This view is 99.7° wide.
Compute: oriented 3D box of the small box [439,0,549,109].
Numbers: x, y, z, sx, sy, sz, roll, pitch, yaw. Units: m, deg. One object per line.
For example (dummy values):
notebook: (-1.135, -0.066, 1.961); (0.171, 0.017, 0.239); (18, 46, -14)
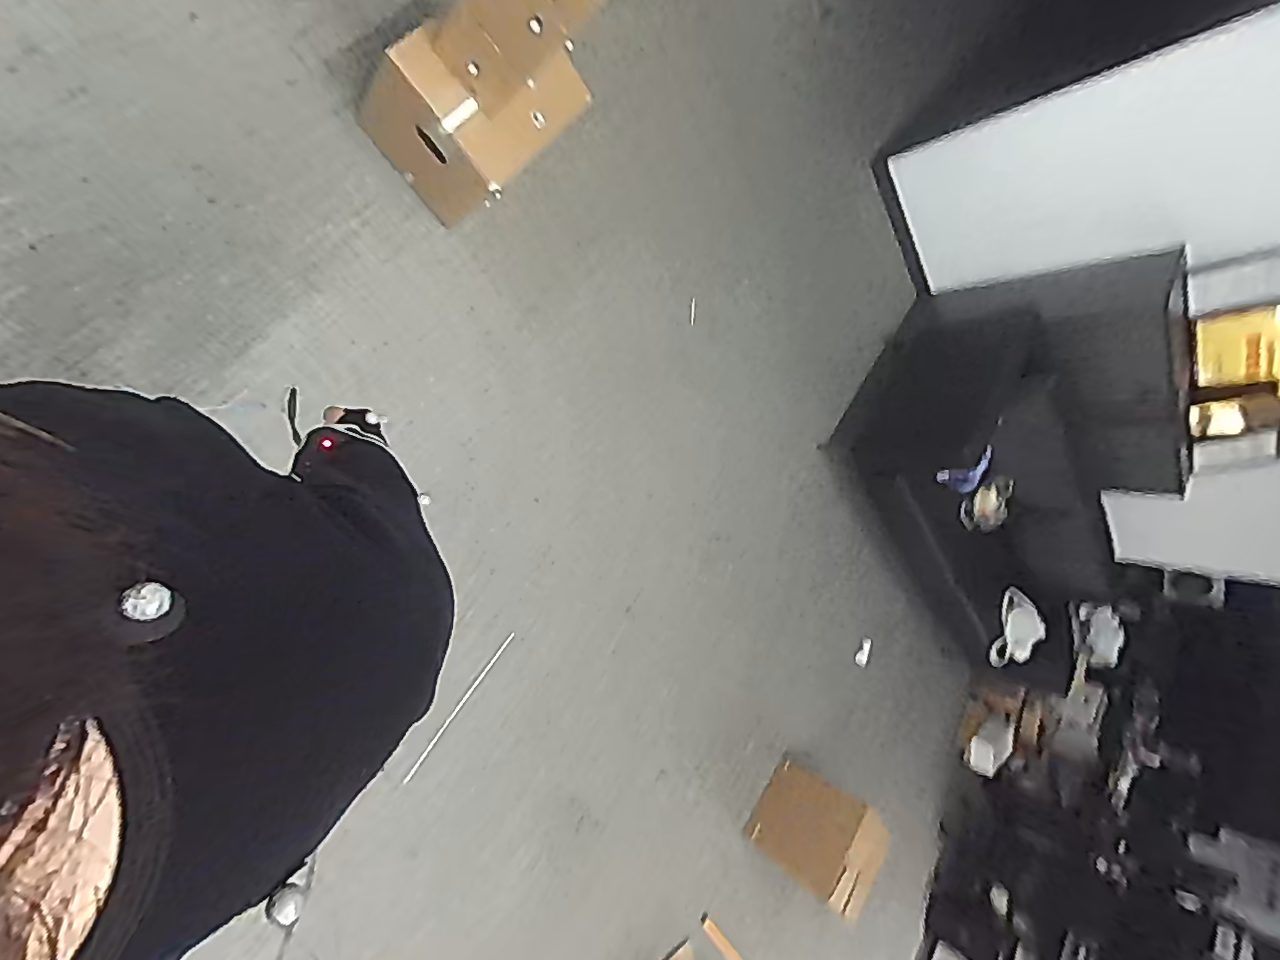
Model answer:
small box: (-0.291, -0.925, 1.122); (0.168, 0.176, 0.179); (44, 69, -32)

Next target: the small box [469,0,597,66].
small box: (-0.193, -0.911, 0.990); (0.179, 0.176, 0.168); (43, 68, -31)
